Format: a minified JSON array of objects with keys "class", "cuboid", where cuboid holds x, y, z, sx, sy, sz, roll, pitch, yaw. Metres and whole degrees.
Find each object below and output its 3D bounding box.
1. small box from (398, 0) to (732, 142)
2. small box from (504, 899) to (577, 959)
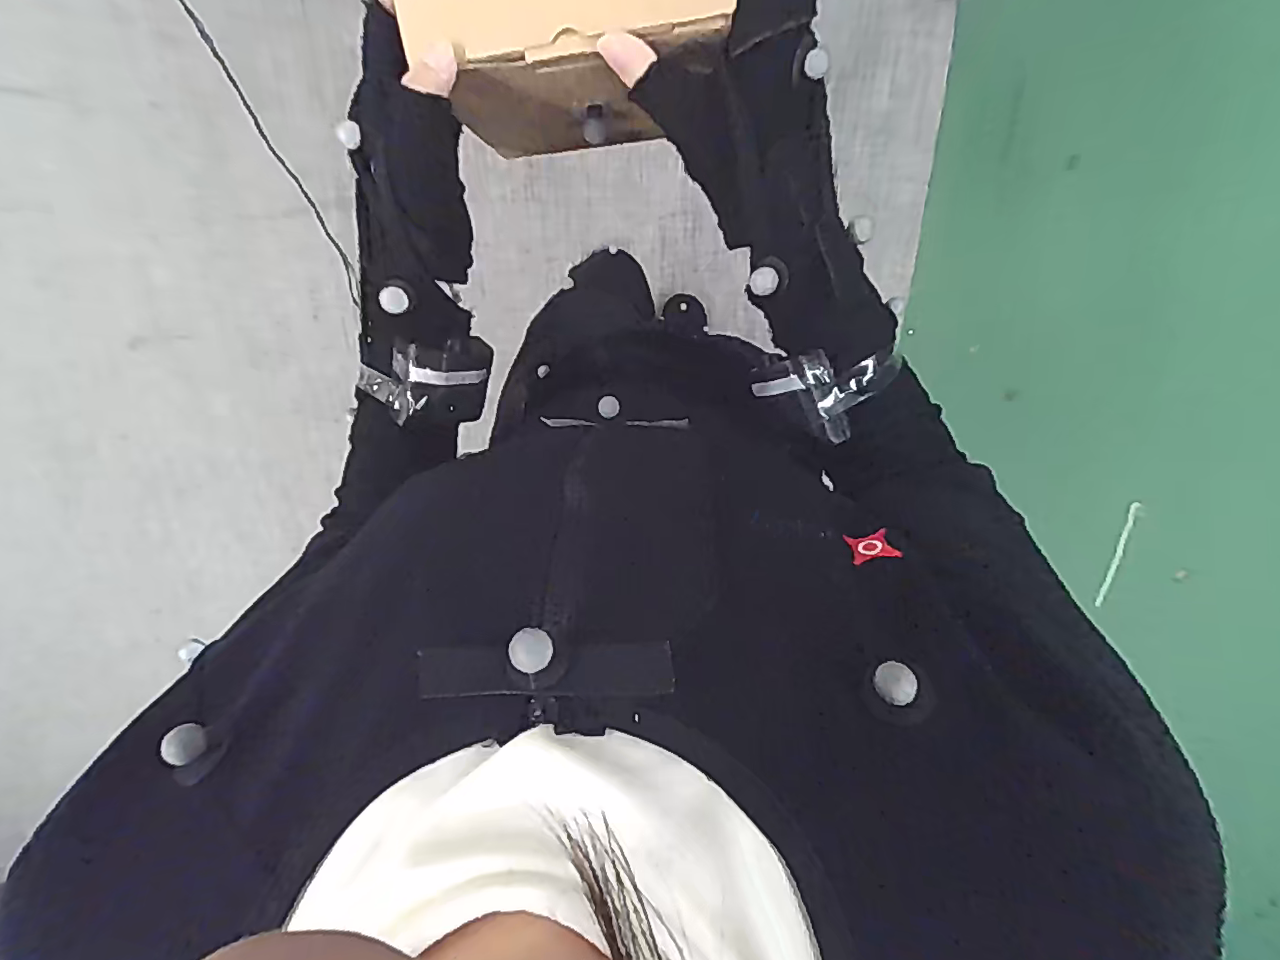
[{"class":"small box","cuboid":[-0.039,-0.317,0.315,0.168,0.176,0.179,-5,109,5]},{"class":"small box","cuboid":[-0.287,1.378,1.591,0.179,0.176,0.168,1,110,3]}]
